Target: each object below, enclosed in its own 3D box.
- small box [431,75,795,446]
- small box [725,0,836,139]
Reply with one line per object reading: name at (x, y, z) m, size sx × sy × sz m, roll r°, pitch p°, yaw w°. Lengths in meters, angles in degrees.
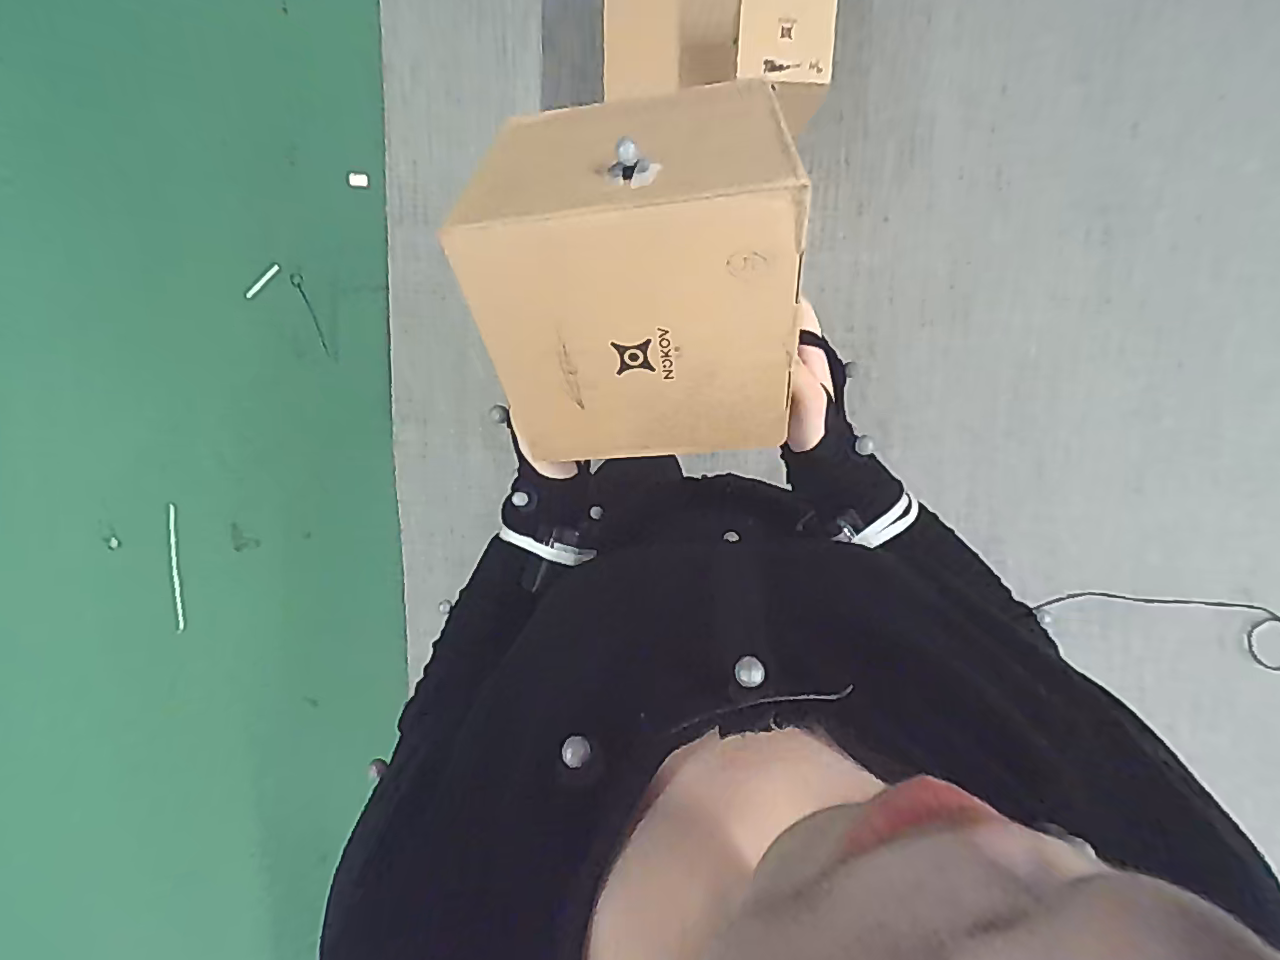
small box at (-0.006, -0.142, 0.360) m, size 0.179 × 0.176 × 0.168 m, roll -3°, pitch 139°, yaw 7°
small box at (0.249, -0.774, 1.001) m, size 0.168 × 0.176 × 0.179 m, roll 4°, pitch 94°, yaw 0°
